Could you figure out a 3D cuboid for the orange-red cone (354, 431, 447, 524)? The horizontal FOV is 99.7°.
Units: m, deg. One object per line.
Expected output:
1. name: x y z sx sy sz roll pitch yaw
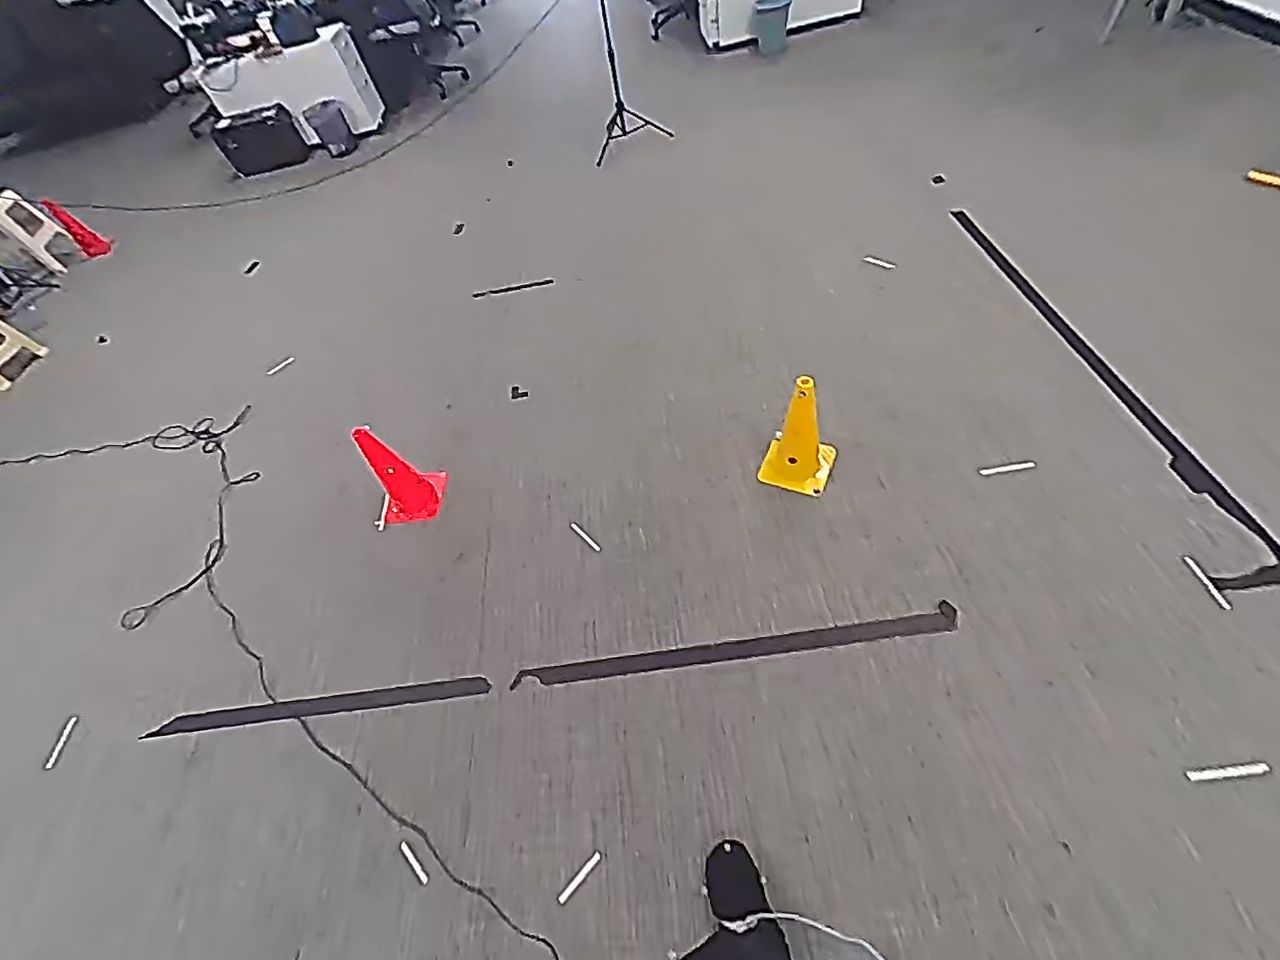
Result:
1. orange-red cone: -0.812 -0.033 1.764 0.199 0.360 0.198 -3 54 8
